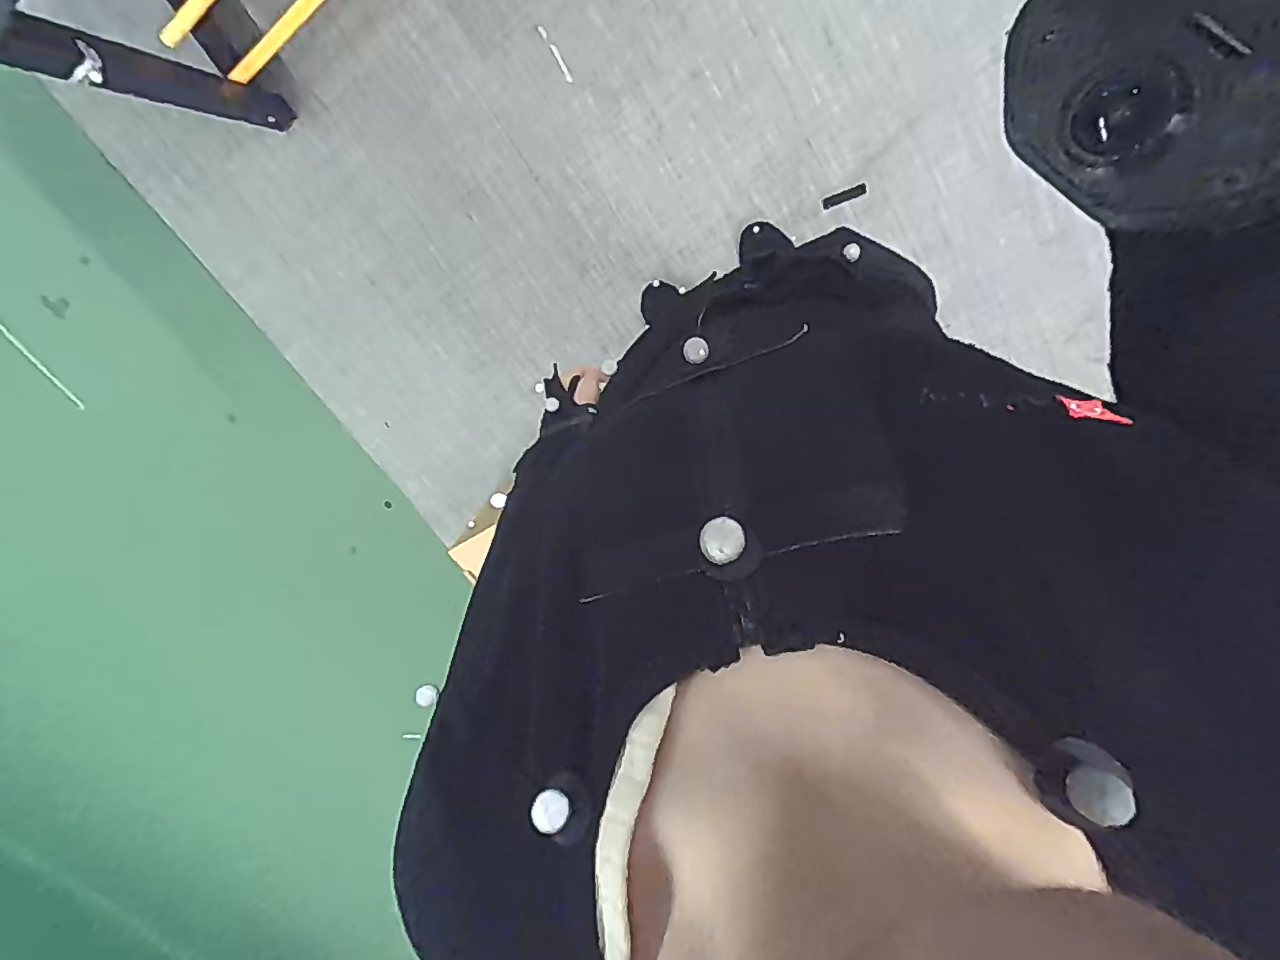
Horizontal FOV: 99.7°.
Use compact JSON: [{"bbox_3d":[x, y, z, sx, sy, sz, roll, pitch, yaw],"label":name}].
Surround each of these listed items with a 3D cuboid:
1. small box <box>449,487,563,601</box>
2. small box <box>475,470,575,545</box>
[{"bbox_3d":[-0.308,0.148,1.286,0.179,0.176,0.168,-30,108,18],"label":"small box"},{"bbox_3d":[-0.299,0.091,1.439,0.168,0.176,0.179,-27,109,18],"label":"small box"}]
